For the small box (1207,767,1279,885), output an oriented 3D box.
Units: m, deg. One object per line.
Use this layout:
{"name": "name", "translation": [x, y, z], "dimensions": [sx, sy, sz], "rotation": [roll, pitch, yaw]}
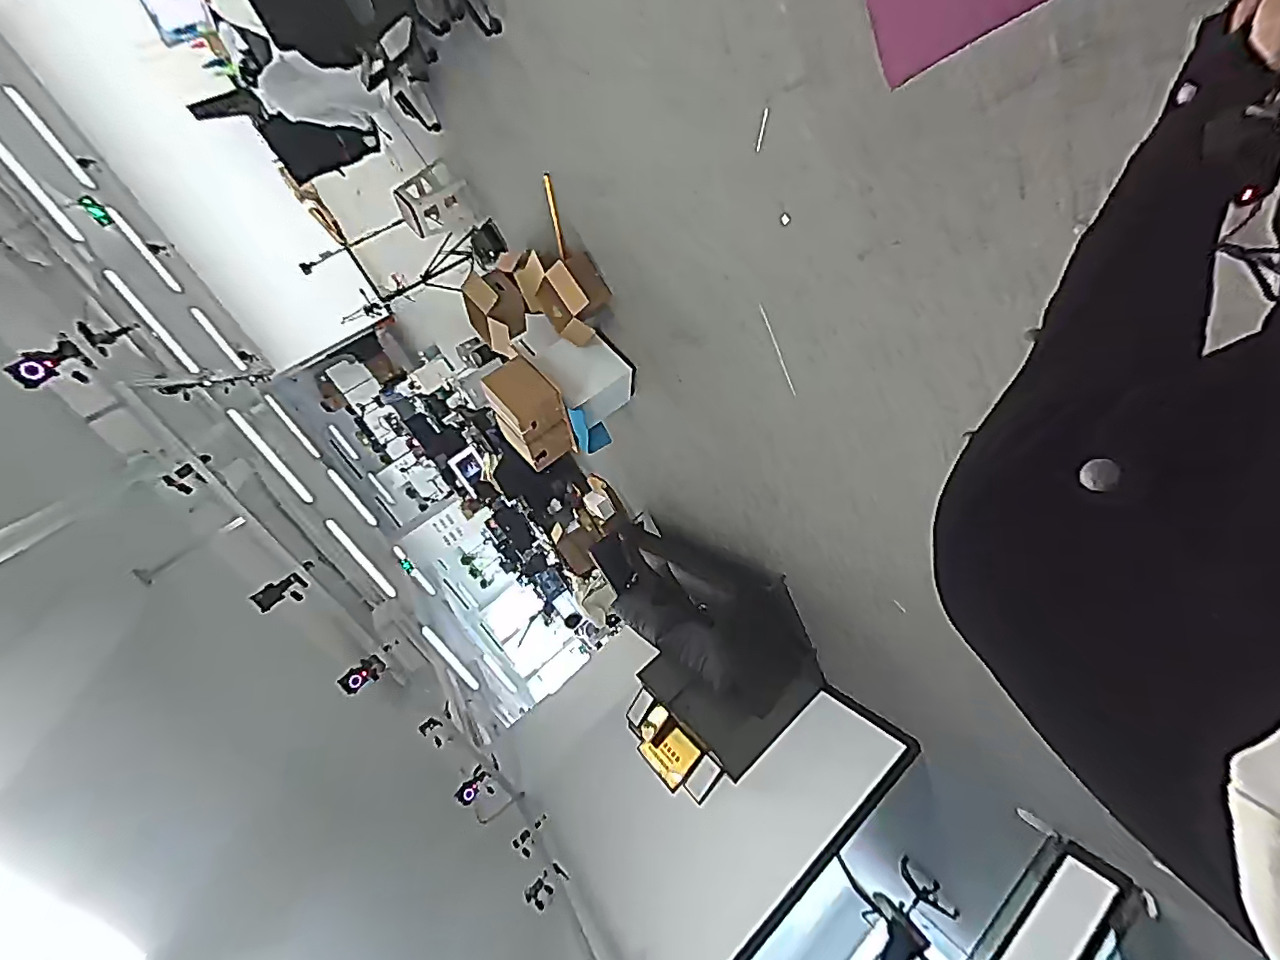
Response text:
{"name": "small box", "translation": [1.536, 0.846, 1.315], "dimensions": [0.168, 0.176, 0.179], "rotation": [25, 148, 55]}
